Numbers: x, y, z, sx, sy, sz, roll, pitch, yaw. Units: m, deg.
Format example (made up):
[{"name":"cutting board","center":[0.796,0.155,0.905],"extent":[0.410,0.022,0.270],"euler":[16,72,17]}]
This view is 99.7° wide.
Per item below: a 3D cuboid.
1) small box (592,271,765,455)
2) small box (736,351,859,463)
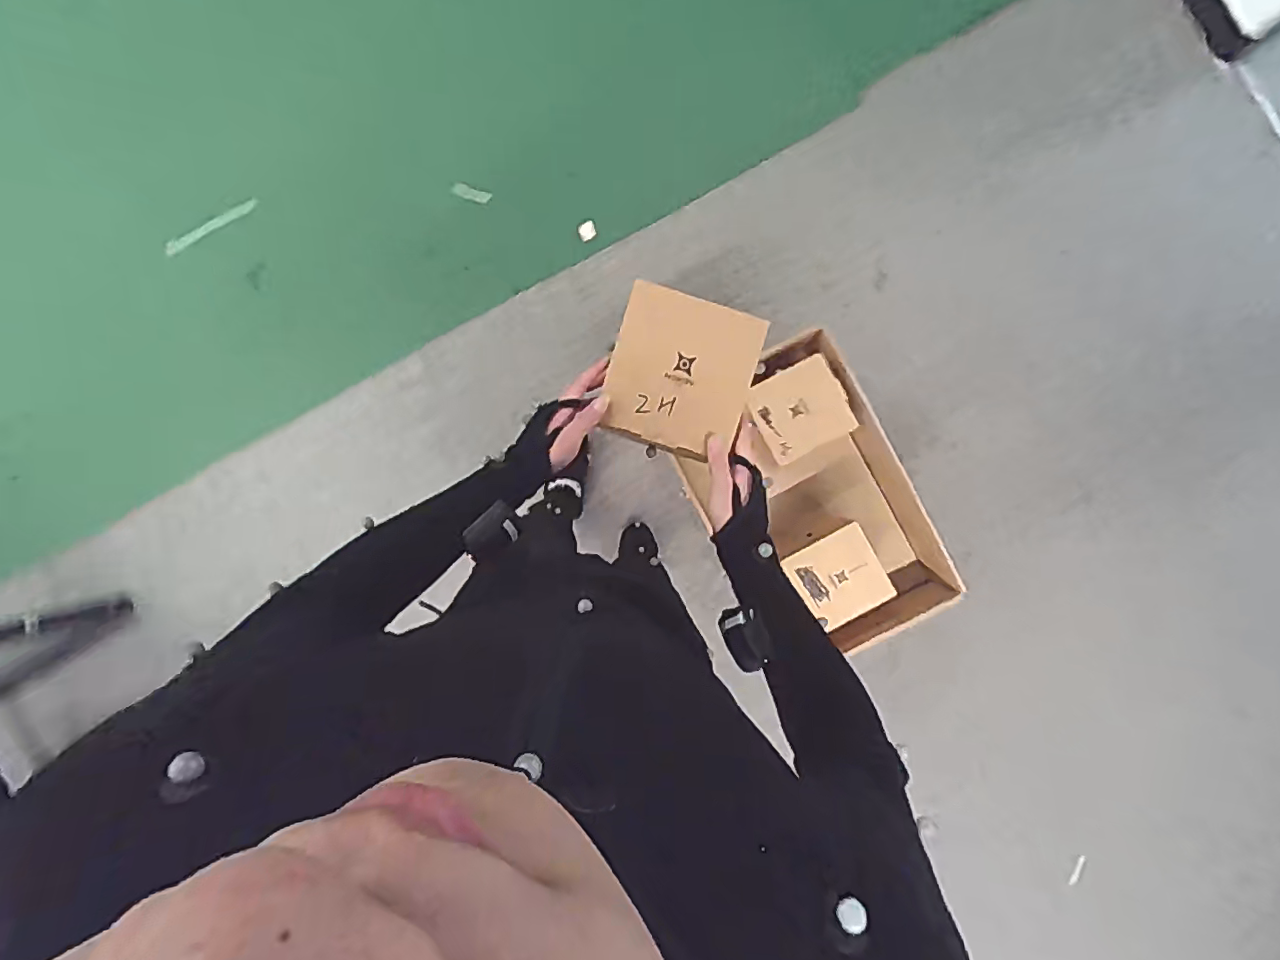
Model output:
[{"name":"small box","center":[0.041,-0.138,0.703],"extent":[0.168,0.176,0.179],"euler":[17,93,-2]},{"name":"small box","center":[0.311,-0.144,1.119],"extent":[0.179,0.176,0.168],"euler":[-26,90,2]}]
